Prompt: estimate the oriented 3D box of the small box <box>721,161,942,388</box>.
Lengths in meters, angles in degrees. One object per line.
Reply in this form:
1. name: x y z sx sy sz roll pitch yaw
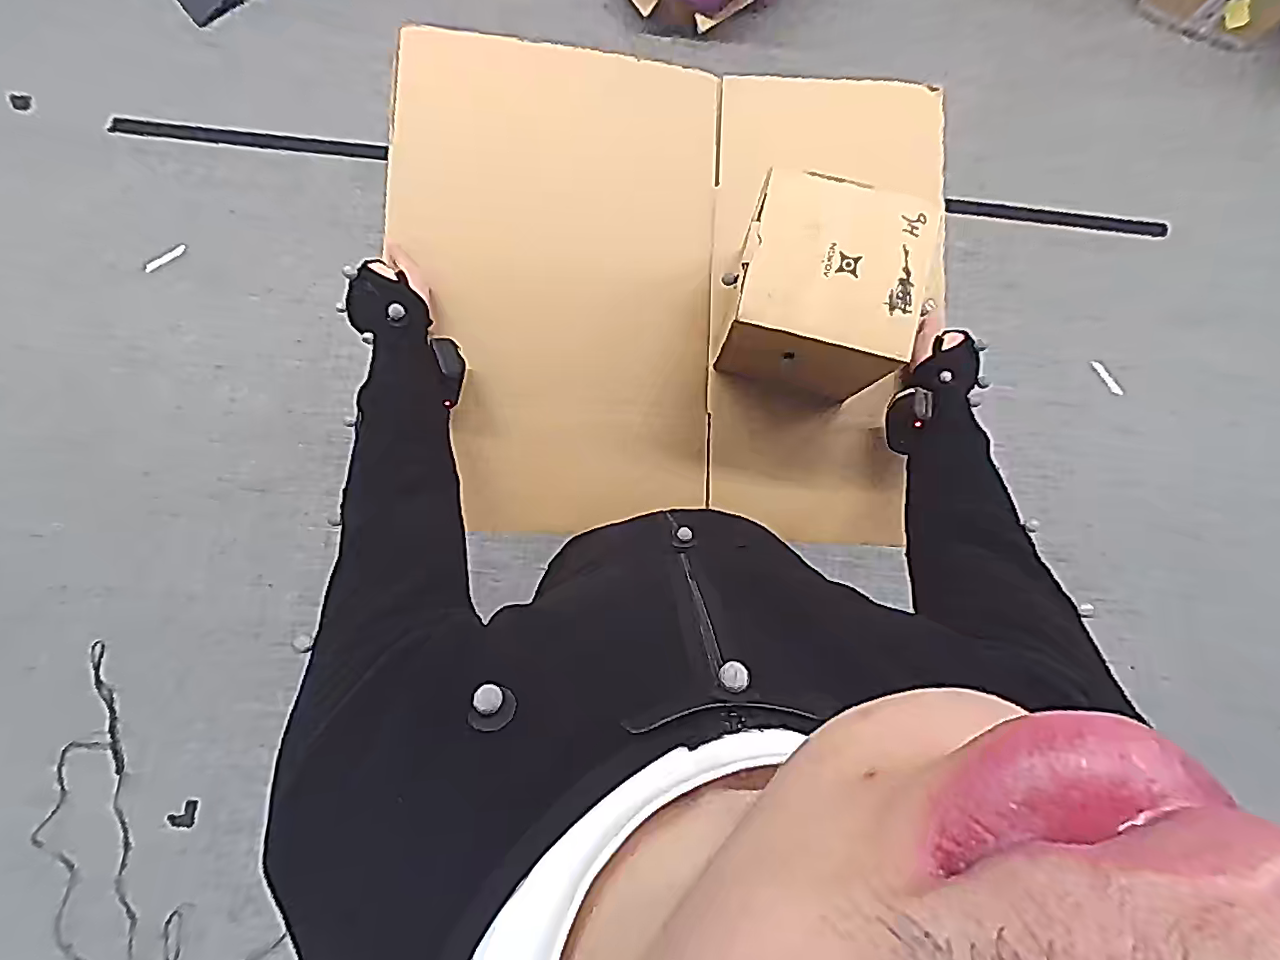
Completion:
1. small box: 0.198 -0.215 0.611 0.179 0.176 0.168 14 87 3
